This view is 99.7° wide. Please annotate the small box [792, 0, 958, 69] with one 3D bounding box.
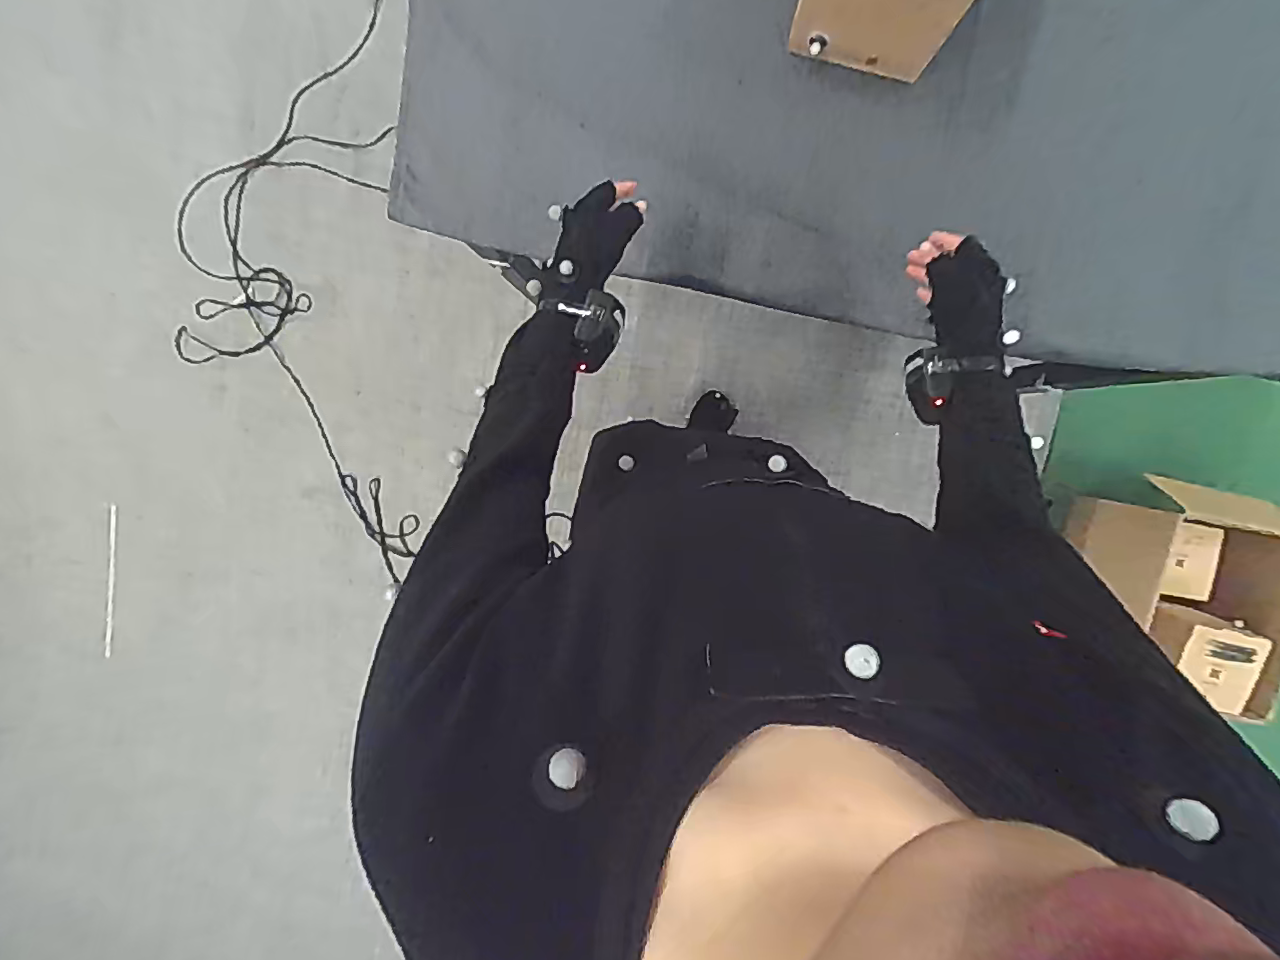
[{"bbox_3d":[0.275,-0.593,0.578,0.168,0.176,0.179,15,96,1],"label":"small box"}]
